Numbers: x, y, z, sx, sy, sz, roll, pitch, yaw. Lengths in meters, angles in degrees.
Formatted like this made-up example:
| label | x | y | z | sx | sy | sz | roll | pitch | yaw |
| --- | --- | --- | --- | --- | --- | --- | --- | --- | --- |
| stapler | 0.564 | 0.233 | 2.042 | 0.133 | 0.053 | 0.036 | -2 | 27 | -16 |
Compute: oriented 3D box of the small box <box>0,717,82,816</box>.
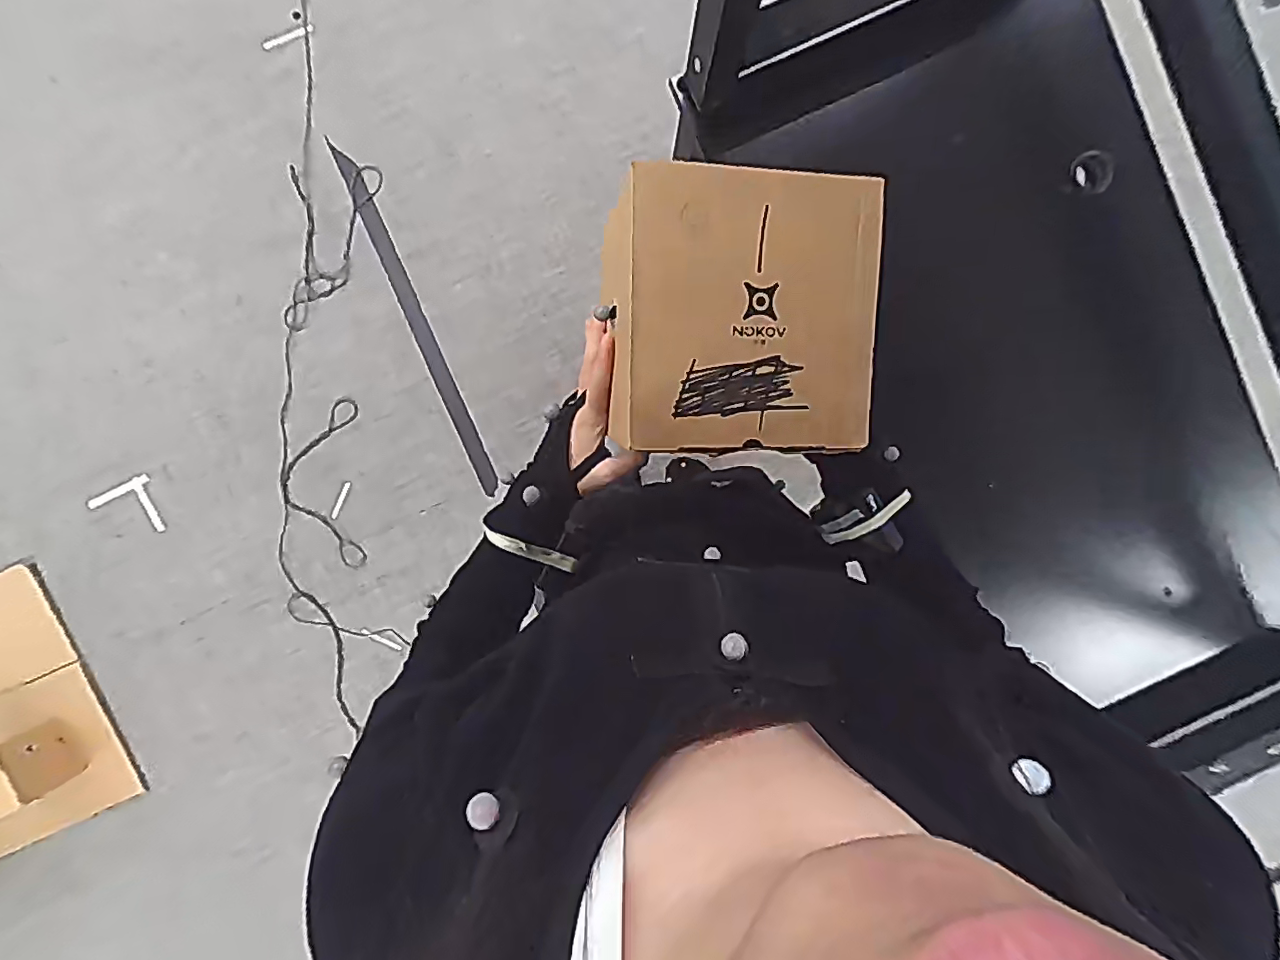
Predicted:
| label | x | y | z | sx | sy | sz | roll | pitch | yaw |
| --- | --- | --- | --- | --- | --- | --- | --- | --- | --- |
| small box | -1.593 | 0.739 | 1.374 | 0.179 | 0.176 | 0.168 | -27 | 93 | 0 |
